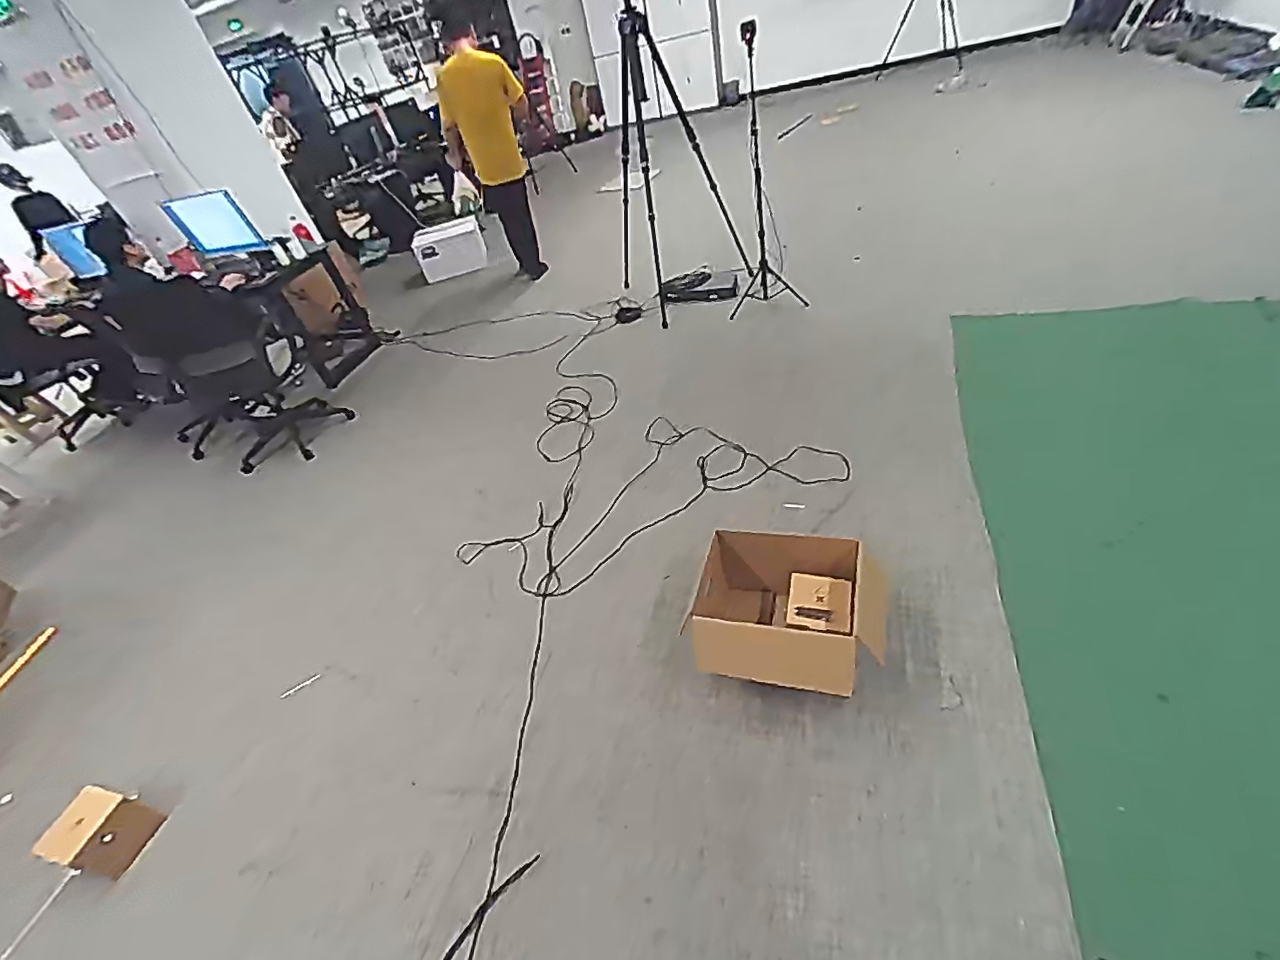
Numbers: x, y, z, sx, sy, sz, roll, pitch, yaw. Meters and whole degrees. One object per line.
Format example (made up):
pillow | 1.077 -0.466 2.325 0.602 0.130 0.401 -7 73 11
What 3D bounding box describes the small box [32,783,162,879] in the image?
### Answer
small box | -1.538 1.008 1.551 0.168 0.176 0.179 2 45 19
